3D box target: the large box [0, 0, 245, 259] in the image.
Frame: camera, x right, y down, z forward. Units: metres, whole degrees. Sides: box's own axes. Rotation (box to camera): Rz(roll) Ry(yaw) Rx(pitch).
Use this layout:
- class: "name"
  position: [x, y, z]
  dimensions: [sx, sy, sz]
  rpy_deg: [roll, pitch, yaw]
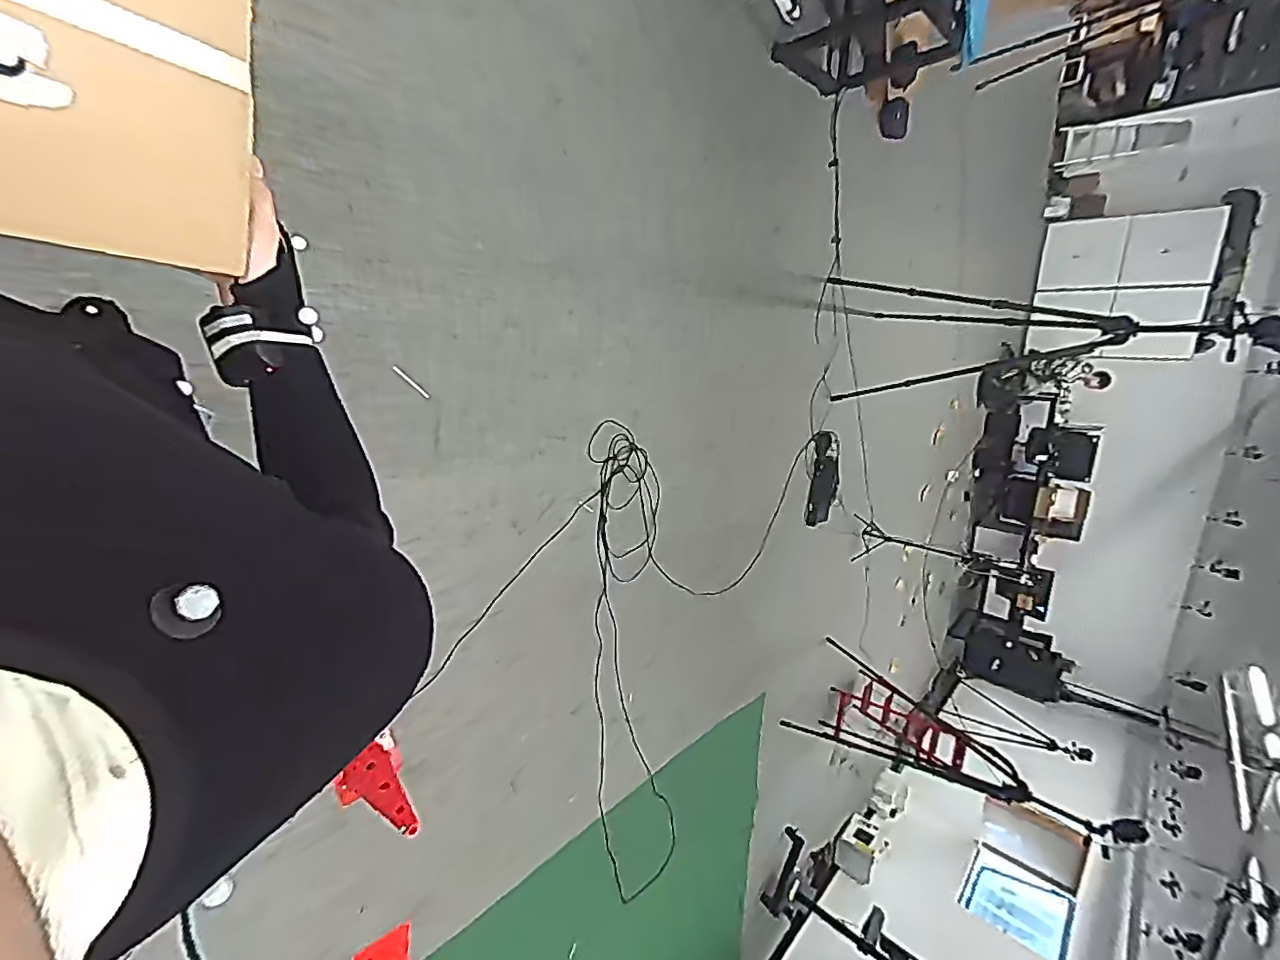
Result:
- class: "large box"
  position: [-0.563, -0.372, 0.373]
  dimensions: [0.408, 0.320, 0.320]
  rpy_deg: [-9, 121, -51]

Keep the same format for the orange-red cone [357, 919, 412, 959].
- class: "orange-red cone"
  position: [-0.805, 1.758, 1.855]
  dimensions: [0.199, 0.360, 0.198]
  rpy_deg: [-3, 104, -48]
